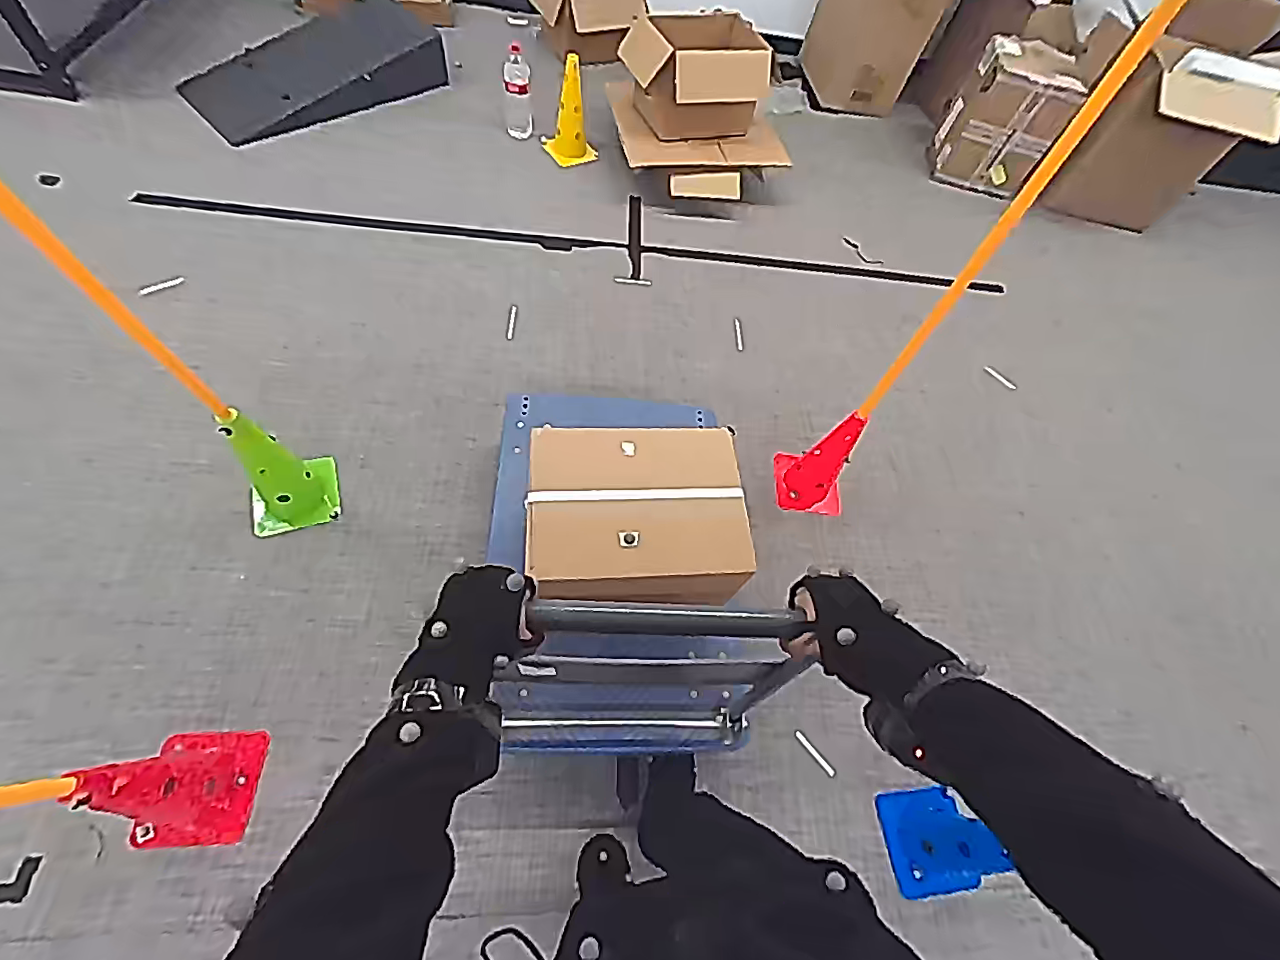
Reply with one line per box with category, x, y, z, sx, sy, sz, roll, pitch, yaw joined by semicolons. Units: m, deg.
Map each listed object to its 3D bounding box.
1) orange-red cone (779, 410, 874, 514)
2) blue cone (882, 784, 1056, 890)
orange-red cone;0.548;-0.077;1.505;0.199;0.360;0.198;10;60;-5
blue cone;0.679;0.721;1.085;0.193;0.380;0.192;0;59;-9
